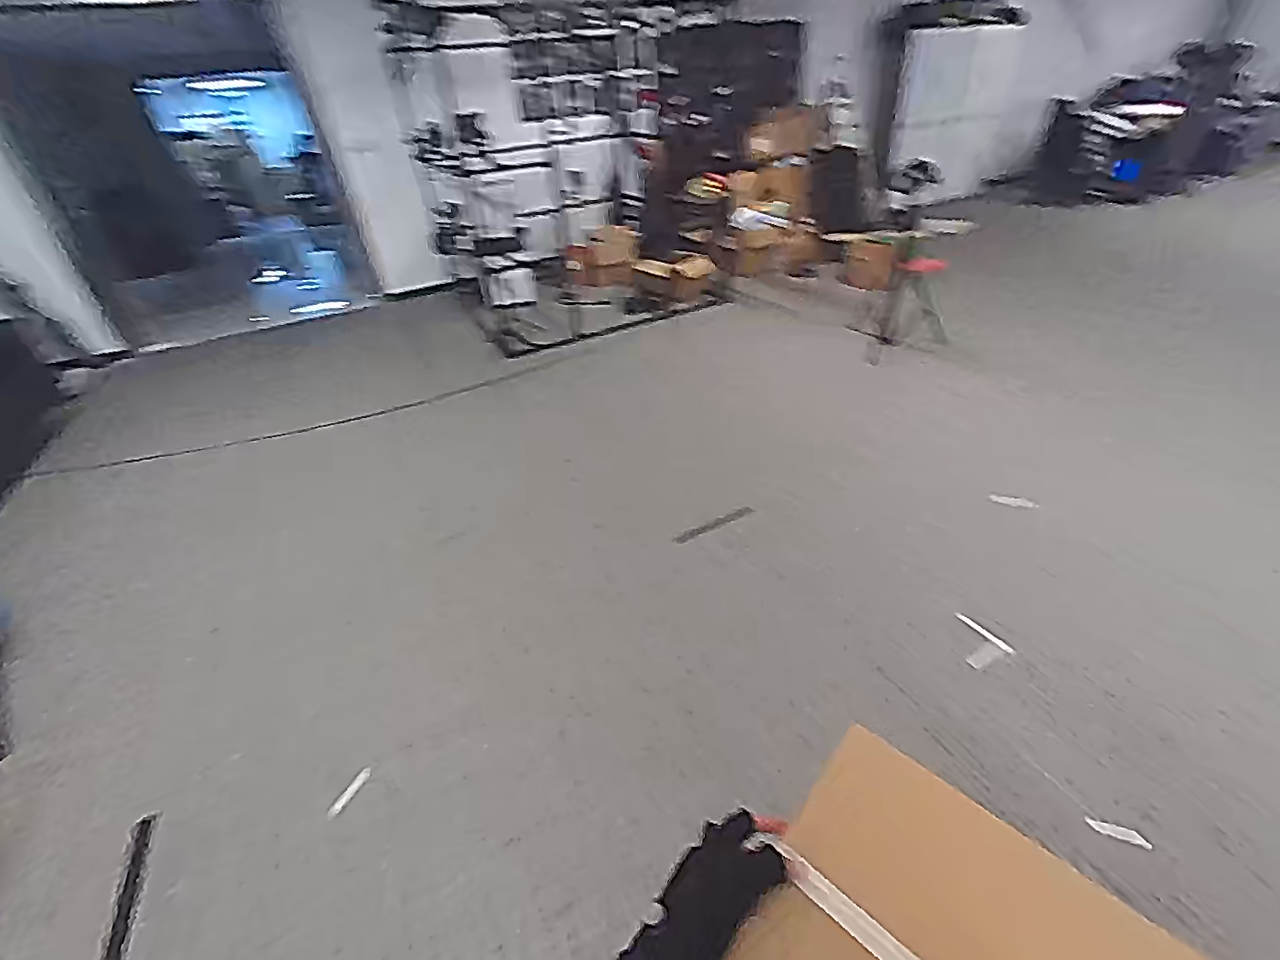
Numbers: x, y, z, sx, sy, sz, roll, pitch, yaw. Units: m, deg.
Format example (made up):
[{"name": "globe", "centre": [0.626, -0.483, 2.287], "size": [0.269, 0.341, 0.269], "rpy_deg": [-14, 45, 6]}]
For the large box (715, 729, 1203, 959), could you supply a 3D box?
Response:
[{"name": "large box", "centre": [0.285, 0.535, 0.503], "size": [0.408, 0.320, 0.320], "rpy_deg": [29, 53, 31]}]
